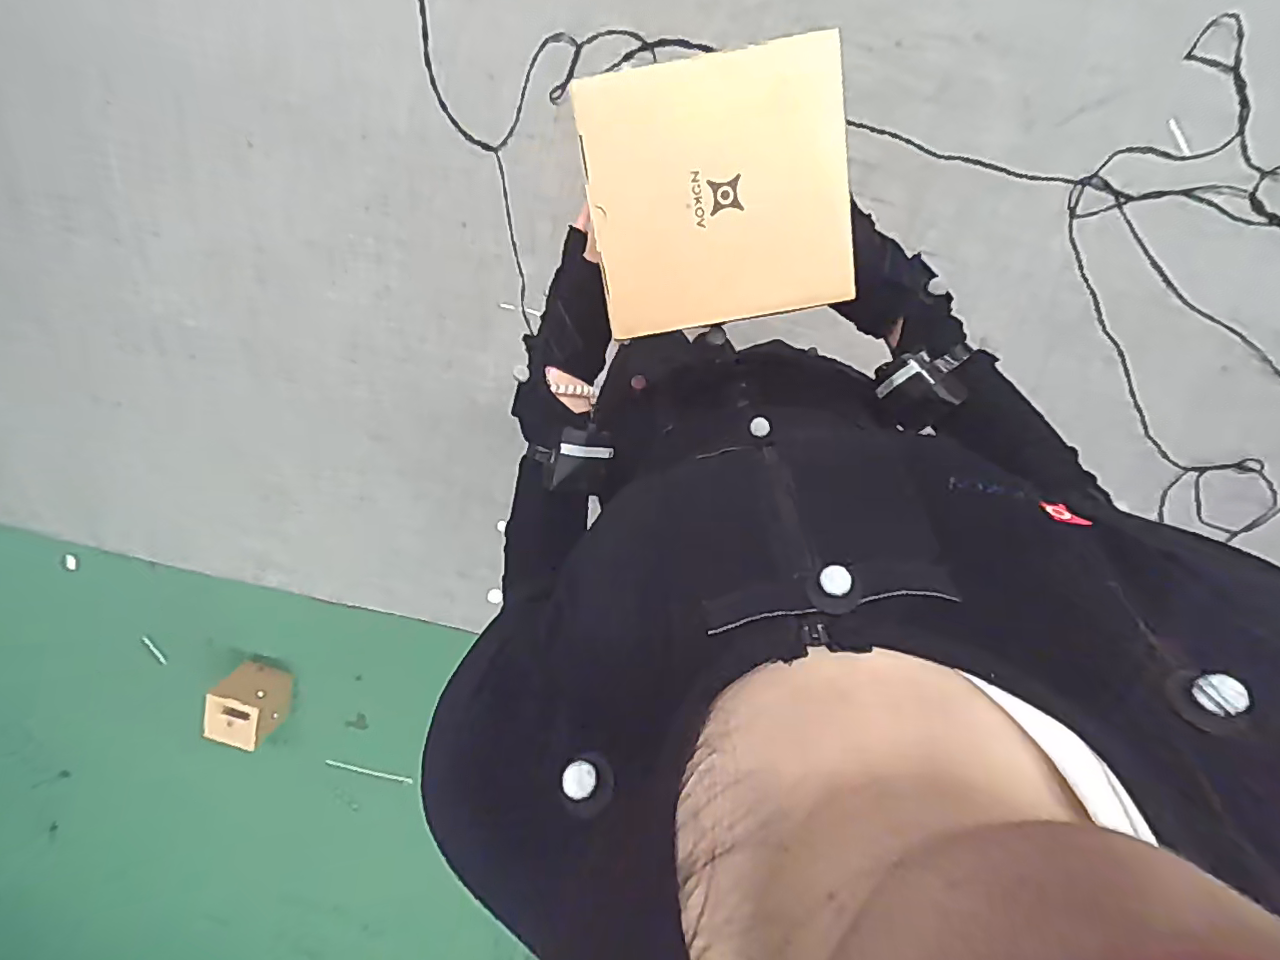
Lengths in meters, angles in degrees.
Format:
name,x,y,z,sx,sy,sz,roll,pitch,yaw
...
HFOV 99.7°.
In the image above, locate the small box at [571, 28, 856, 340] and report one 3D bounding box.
name,x,y,z,sx,sy,sz,roll,pitch,yaw
small box,0.053,-0.212,0.436,0.179,0.176,0.168,-9,105,4
